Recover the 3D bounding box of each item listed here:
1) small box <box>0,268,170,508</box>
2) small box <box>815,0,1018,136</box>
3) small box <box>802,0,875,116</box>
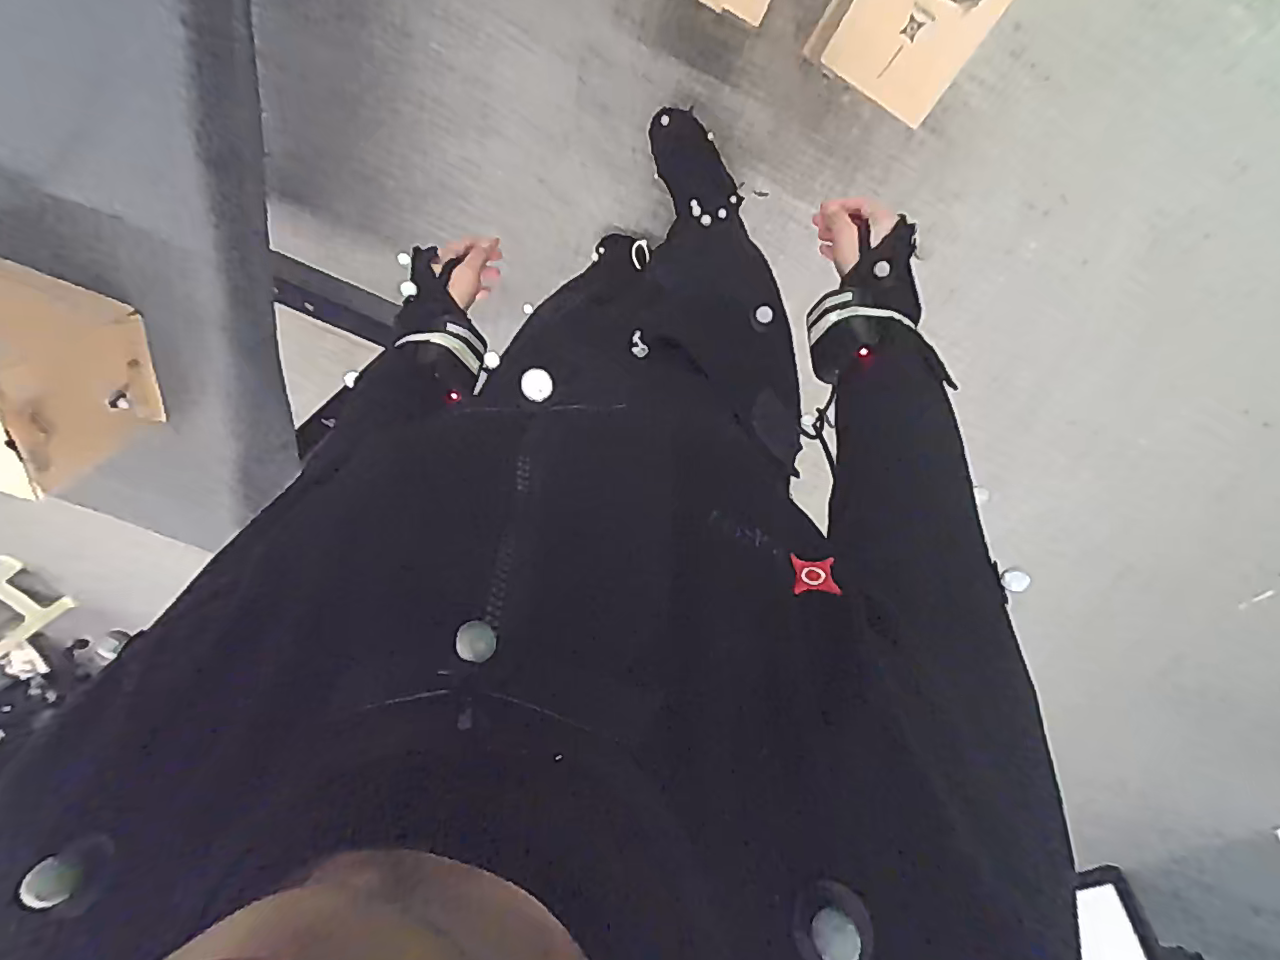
[{"bbox_3d":[-0.668,-0.105,0.579,0.179,0.176,0.168,20,128,-7],"label":"small box"},{"bbox_3d":[0.357,-0.610,0.732,0.168,0.176,0.179,27,128,-10],"label":"small box"},{"bbox_3d":[0.374,-0.716,0.857,0.168,0.176,0.179,27,129,-11],"label":"small box"}]
